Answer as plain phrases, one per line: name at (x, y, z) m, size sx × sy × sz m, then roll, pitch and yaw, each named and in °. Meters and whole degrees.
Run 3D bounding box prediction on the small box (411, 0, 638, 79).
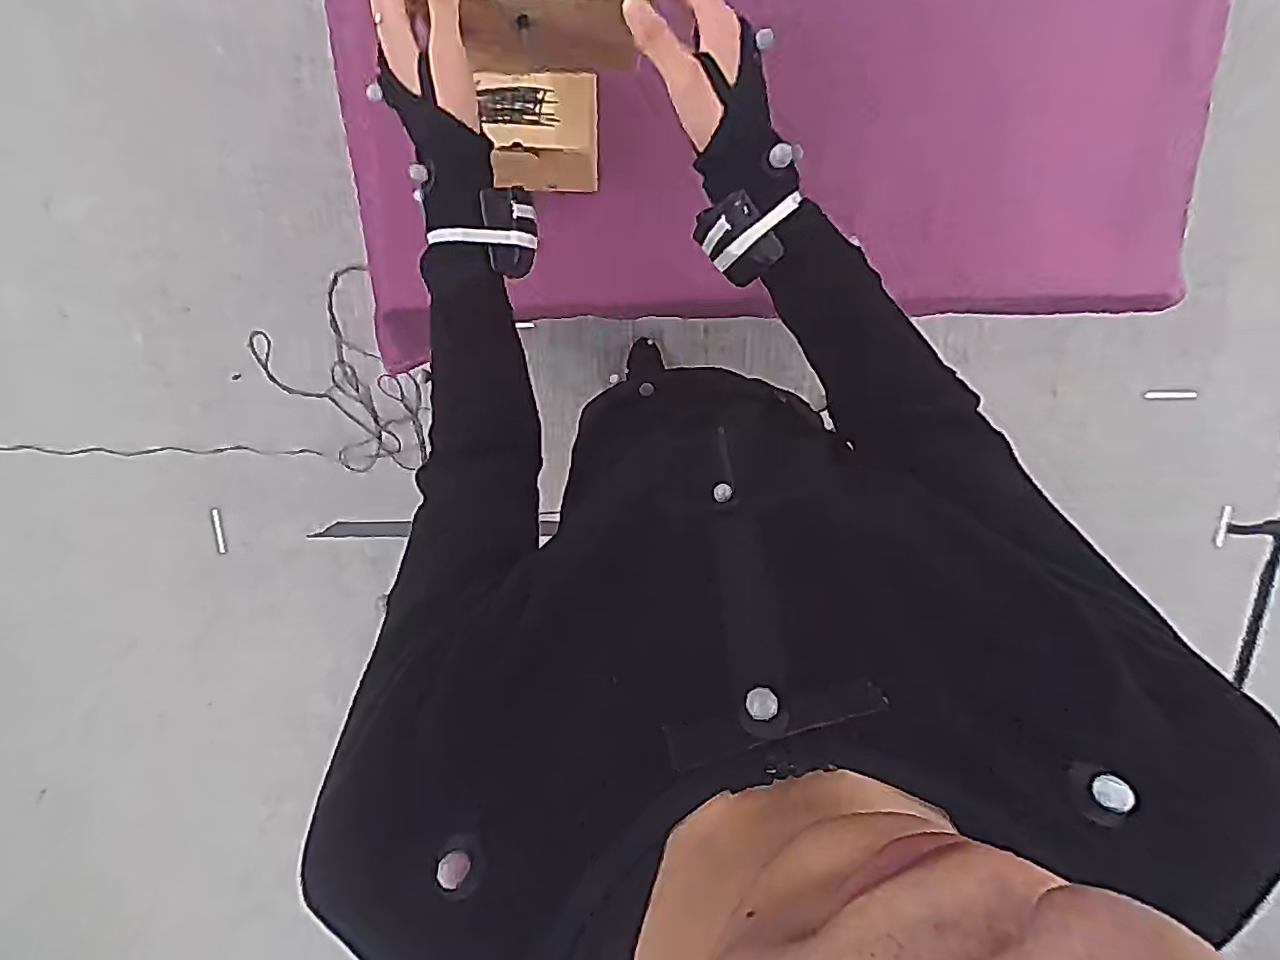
small box at (-0.090, -0.441, 0.427) m, size 0.179 × 0.176 × 0.168 m, roll -3°, pitch 111°, yaw -4°
